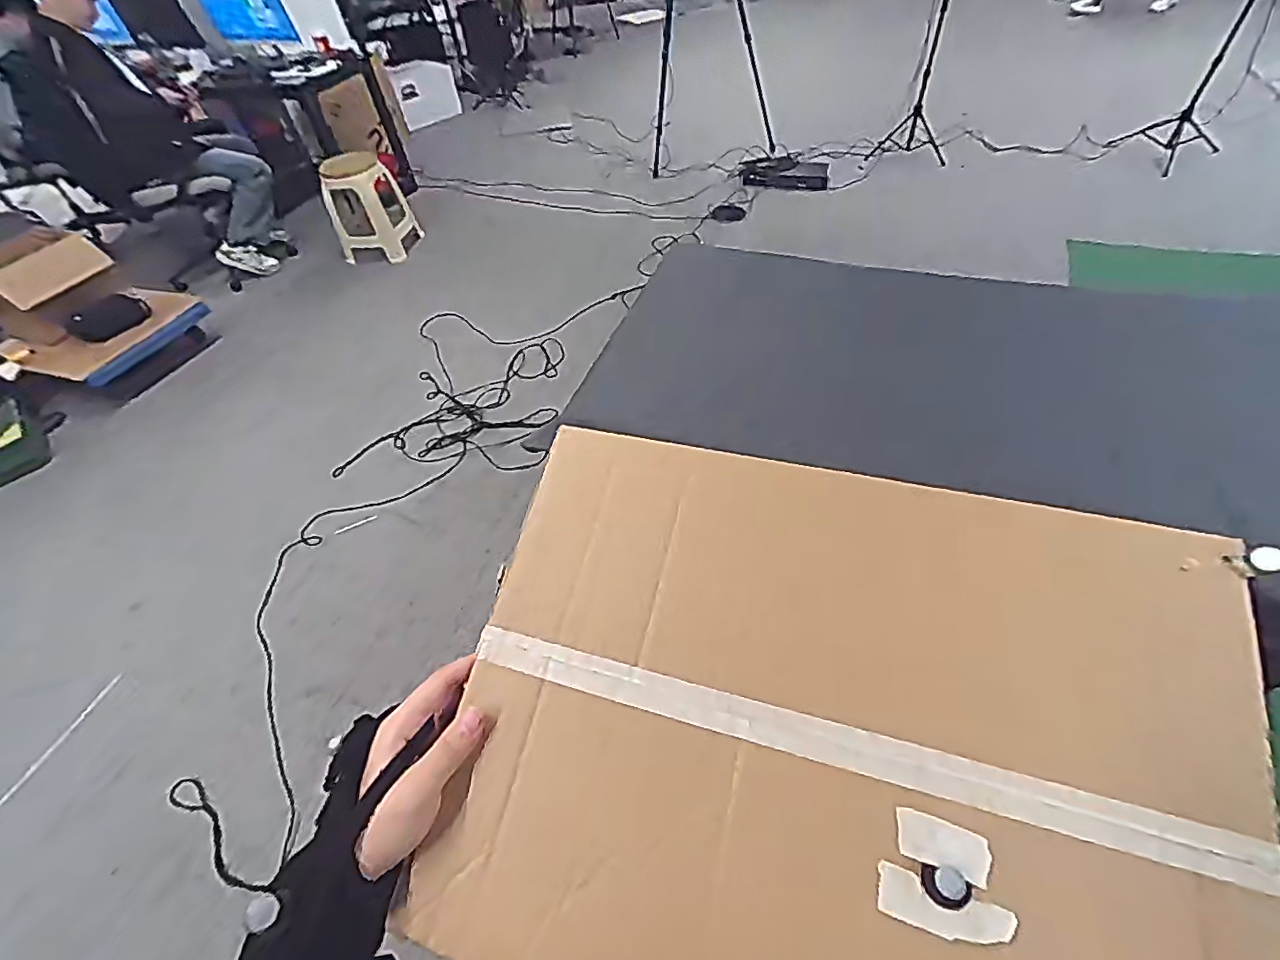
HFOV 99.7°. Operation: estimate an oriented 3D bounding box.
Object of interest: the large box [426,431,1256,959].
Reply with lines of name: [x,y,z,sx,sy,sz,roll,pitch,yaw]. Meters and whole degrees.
large box: [0.124,0.188,0.446,0.408,0.320,0.320,11,71,14]
